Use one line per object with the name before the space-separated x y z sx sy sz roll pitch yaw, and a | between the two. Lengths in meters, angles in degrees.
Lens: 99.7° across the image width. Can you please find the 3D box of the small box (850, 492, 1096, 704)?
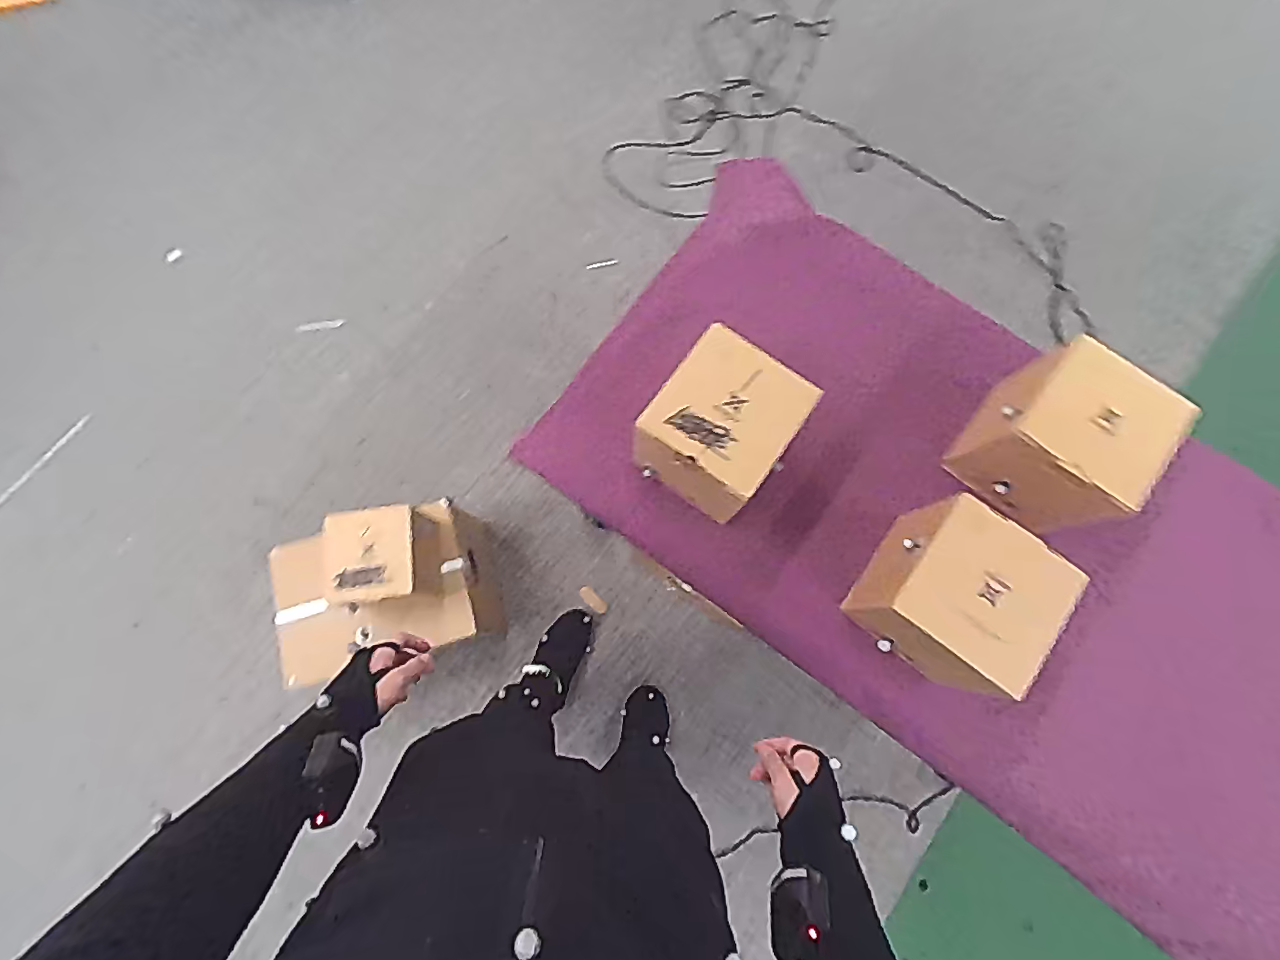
small box | 0.398 0.146 0.680 0.168 0.176 0.179 38 78 9

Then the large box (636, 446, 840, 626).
large box | 0.224 0.115 1.367 0.320 0.320 0.408 37 78 7

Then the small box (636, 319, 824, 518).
small box | 0.110 -0.070 0.729 0.168 0.176 0.179 36 77 7

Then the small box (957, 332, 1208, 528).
small box | 0.577 -0.057 0.732 0.168 0.176 0.179 39 80 8
